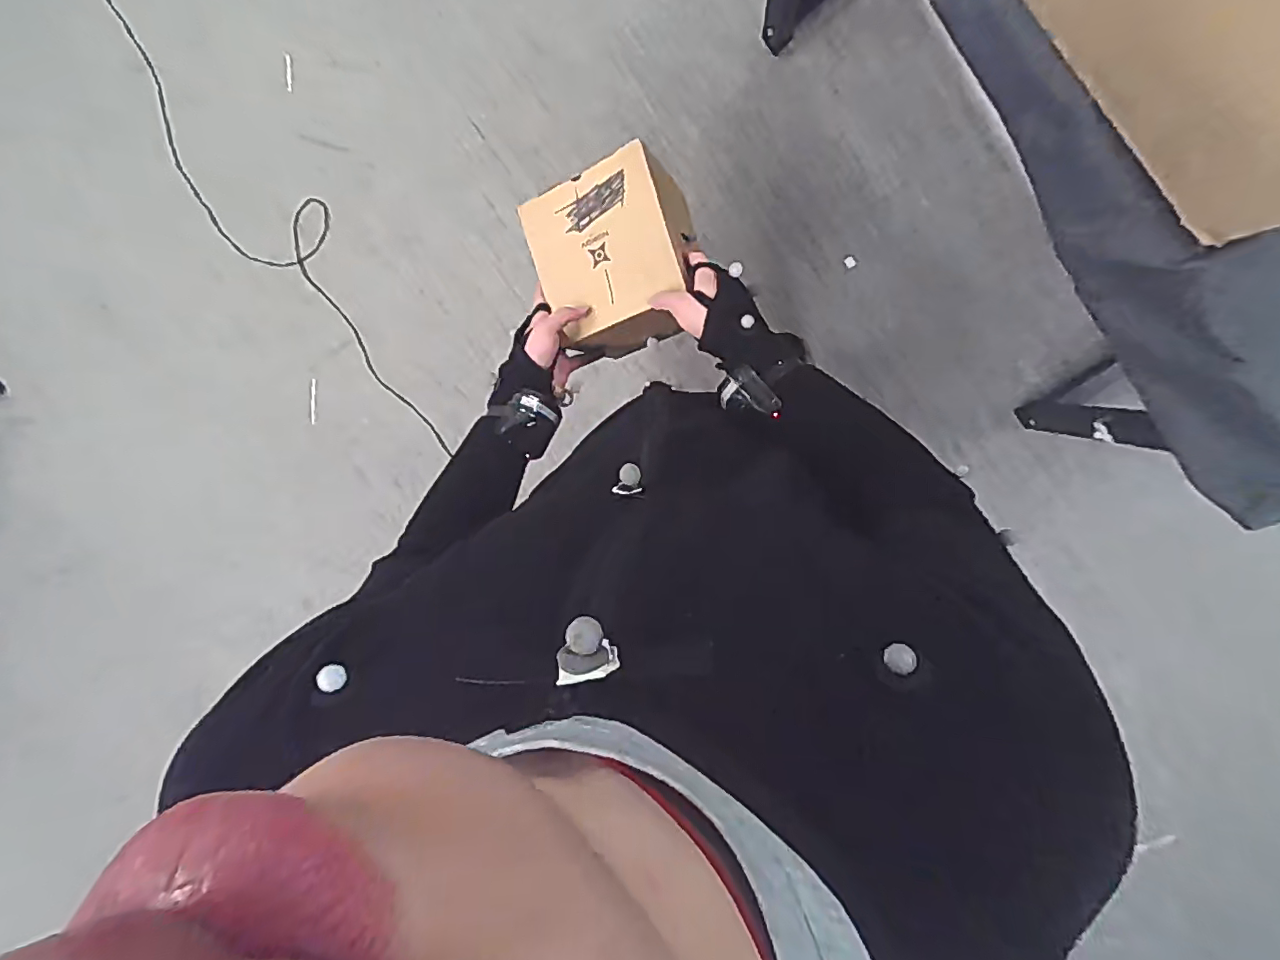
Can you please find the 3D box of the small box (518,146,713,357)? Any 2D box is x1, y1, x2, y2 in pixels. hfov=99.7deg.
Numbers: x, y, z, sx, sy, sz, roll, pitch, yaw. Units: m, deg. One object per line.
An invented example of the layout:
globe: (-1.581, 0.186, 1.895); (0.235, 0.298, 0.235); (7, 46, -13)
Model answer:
small box: (-0.023, -0.273, 0.695); (0.168, 0.176, 0.179); (-18, 90, 24)
